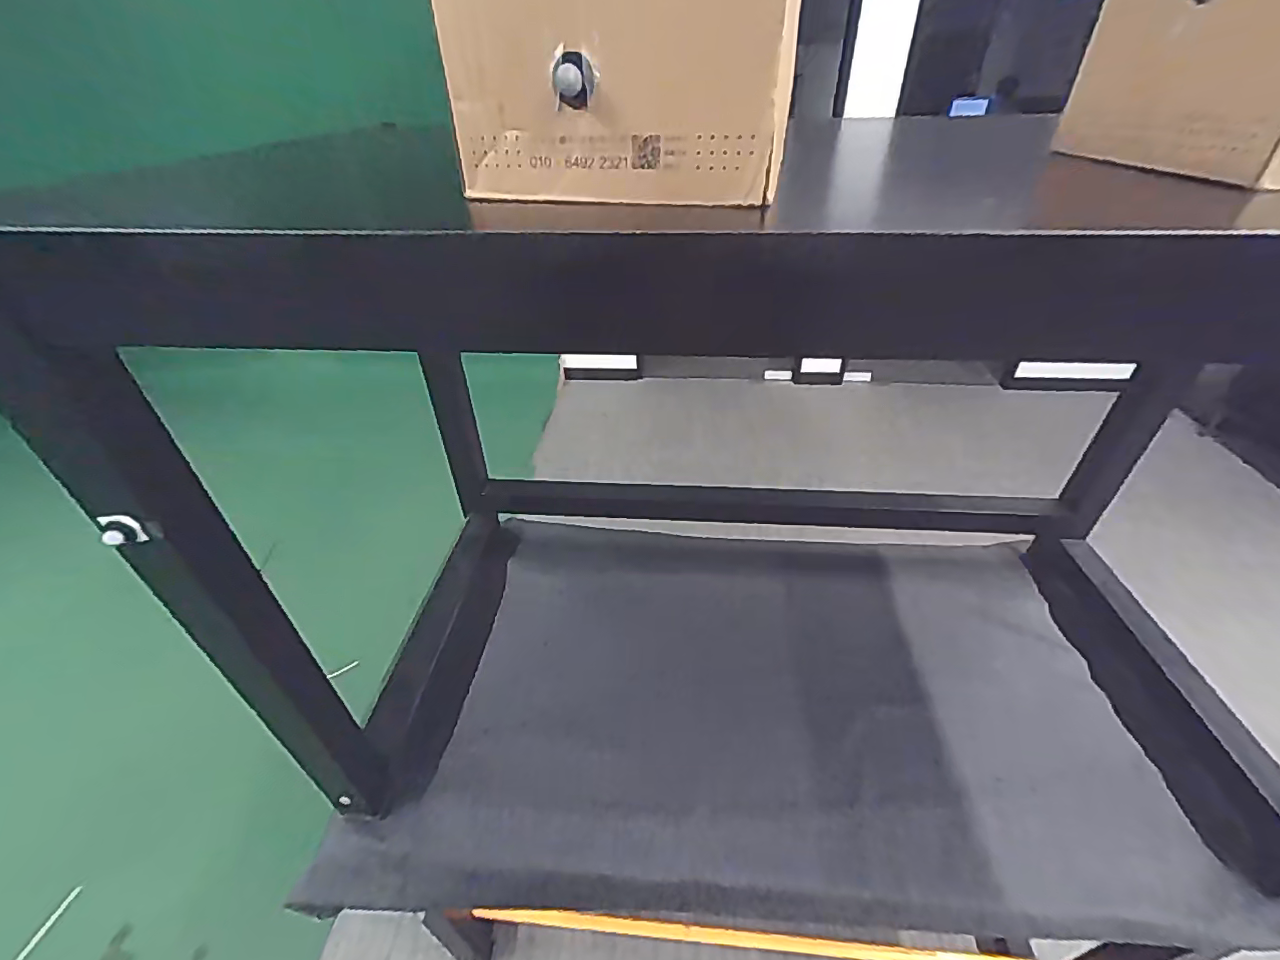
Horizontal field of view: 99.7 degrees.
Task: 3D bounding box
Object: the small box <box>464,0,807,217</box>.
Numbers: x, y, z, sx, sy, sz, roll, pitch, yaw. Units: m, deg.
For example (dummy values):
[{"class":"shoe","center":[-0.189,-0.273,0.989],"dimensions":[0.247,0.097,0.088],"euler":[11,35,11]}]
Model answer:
[{"class":"small box","center":[0.008,-0.261,0.306],"dimensions":[0.168,0.176,0.179],"euler":[7,38,11]}]
